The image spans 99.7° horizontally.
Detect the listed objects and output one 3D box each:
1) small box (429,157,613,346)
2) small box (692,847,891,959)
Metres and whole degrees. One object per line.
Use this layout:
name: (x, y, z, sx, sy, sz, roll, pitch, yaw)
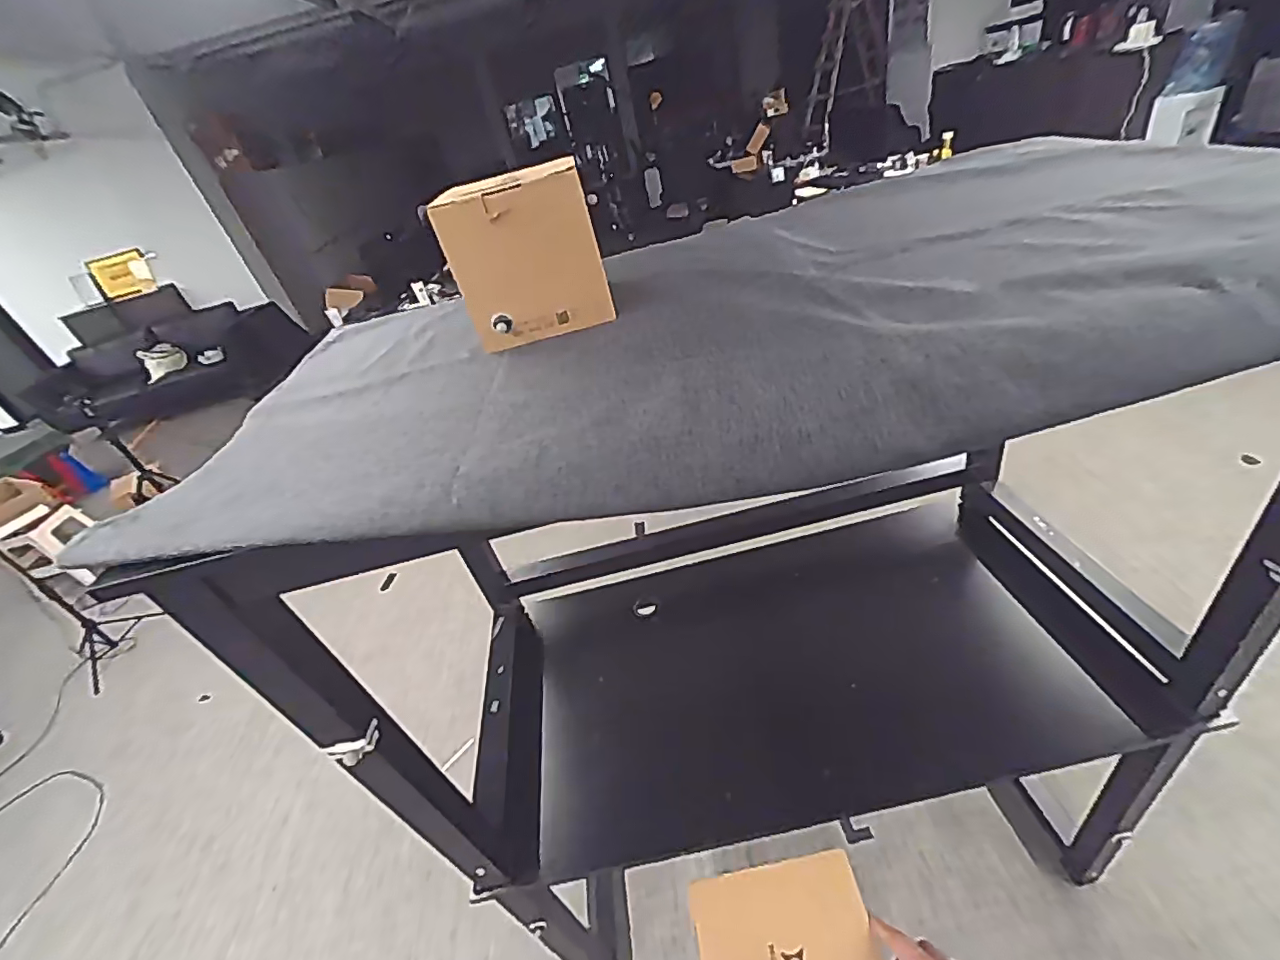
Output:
small box: (-0.135, -0.283, 0.678, 0.168, 0.176, 0.179, -14, 34, 2)
small box: (0.168, 0.515, 0.574, 0.179, 0.176, 0.168, -17, 45, 4)
